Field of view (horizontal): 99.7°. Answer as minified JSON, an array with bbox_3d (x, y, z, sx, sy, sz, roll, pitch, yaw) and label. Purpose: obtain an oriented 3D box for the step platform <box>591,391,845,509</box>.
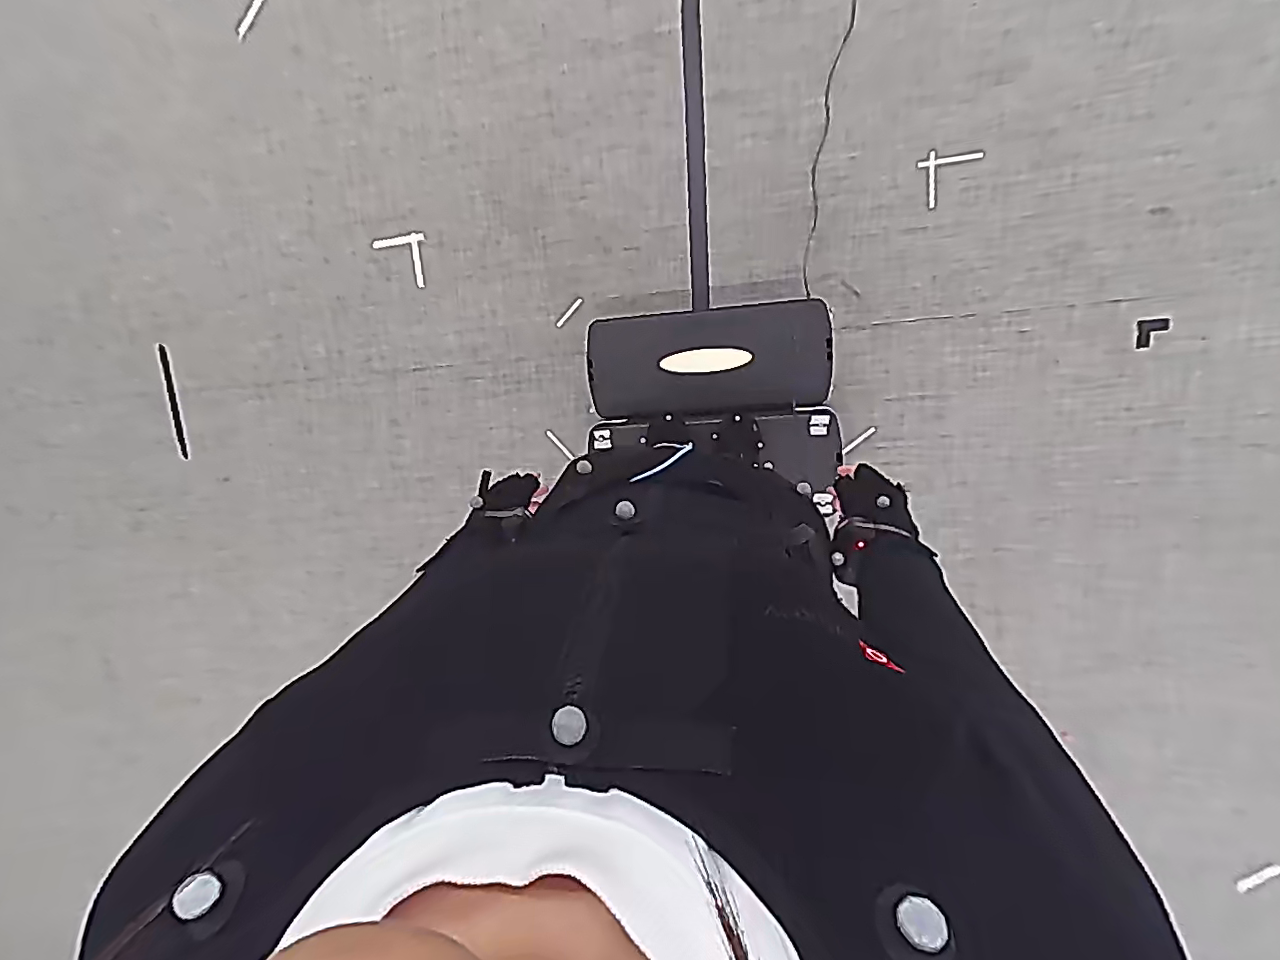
[{"bbox_3d":[0.207,-0.079,1.504,0.684,0.204,0.286,-3,98,11],"label":"step platform"}]
